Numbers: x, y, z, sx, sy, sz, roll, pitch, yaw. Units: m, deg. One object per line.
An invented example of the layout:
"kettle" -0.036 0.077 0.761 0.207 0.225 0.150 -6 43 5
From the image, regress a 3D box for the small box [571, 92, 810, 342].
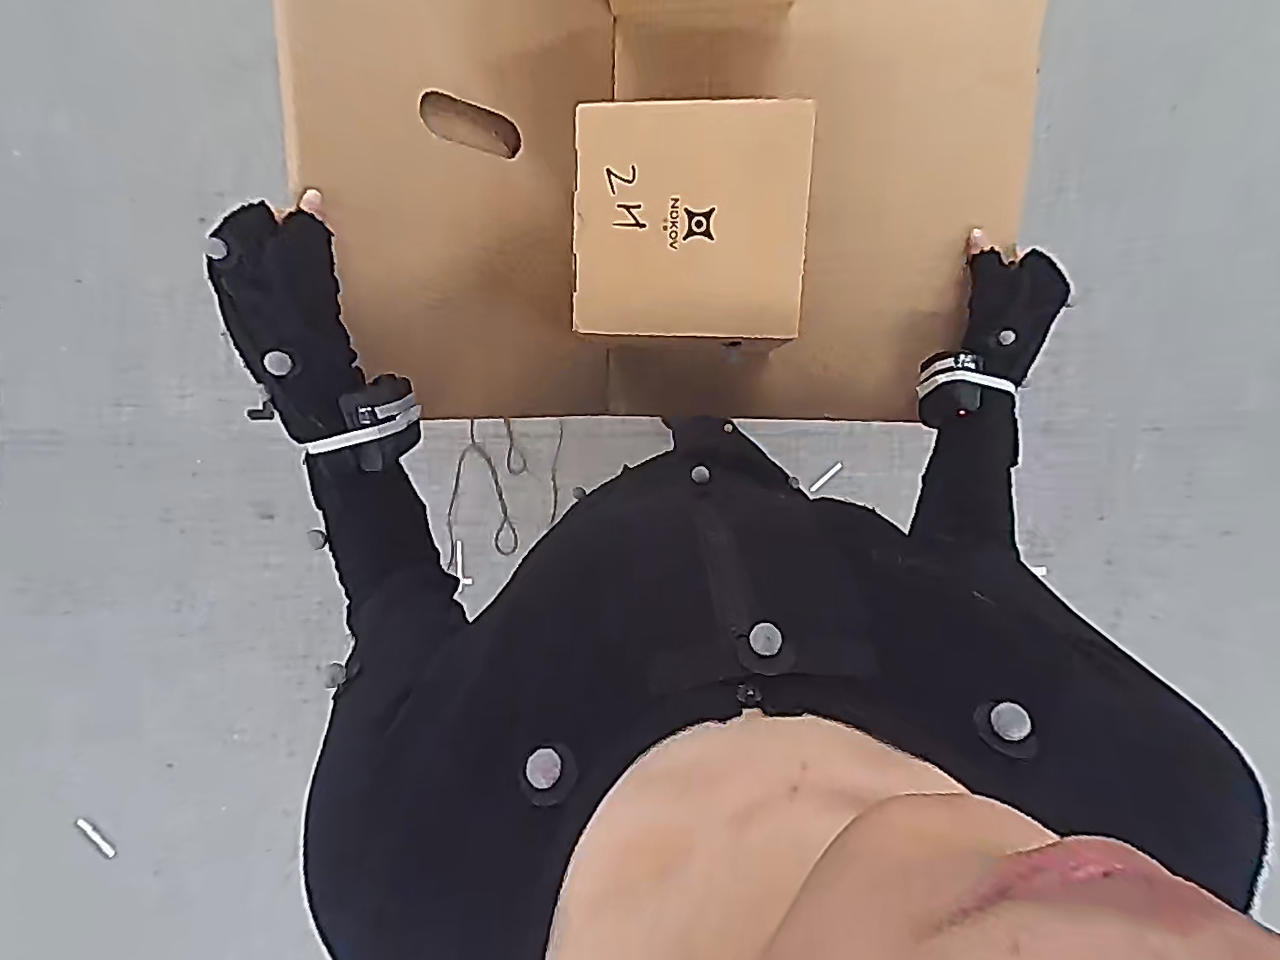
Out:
"small box" 0.042 -0.219 0.491 0.179 0.176 0.168 3 100 6
